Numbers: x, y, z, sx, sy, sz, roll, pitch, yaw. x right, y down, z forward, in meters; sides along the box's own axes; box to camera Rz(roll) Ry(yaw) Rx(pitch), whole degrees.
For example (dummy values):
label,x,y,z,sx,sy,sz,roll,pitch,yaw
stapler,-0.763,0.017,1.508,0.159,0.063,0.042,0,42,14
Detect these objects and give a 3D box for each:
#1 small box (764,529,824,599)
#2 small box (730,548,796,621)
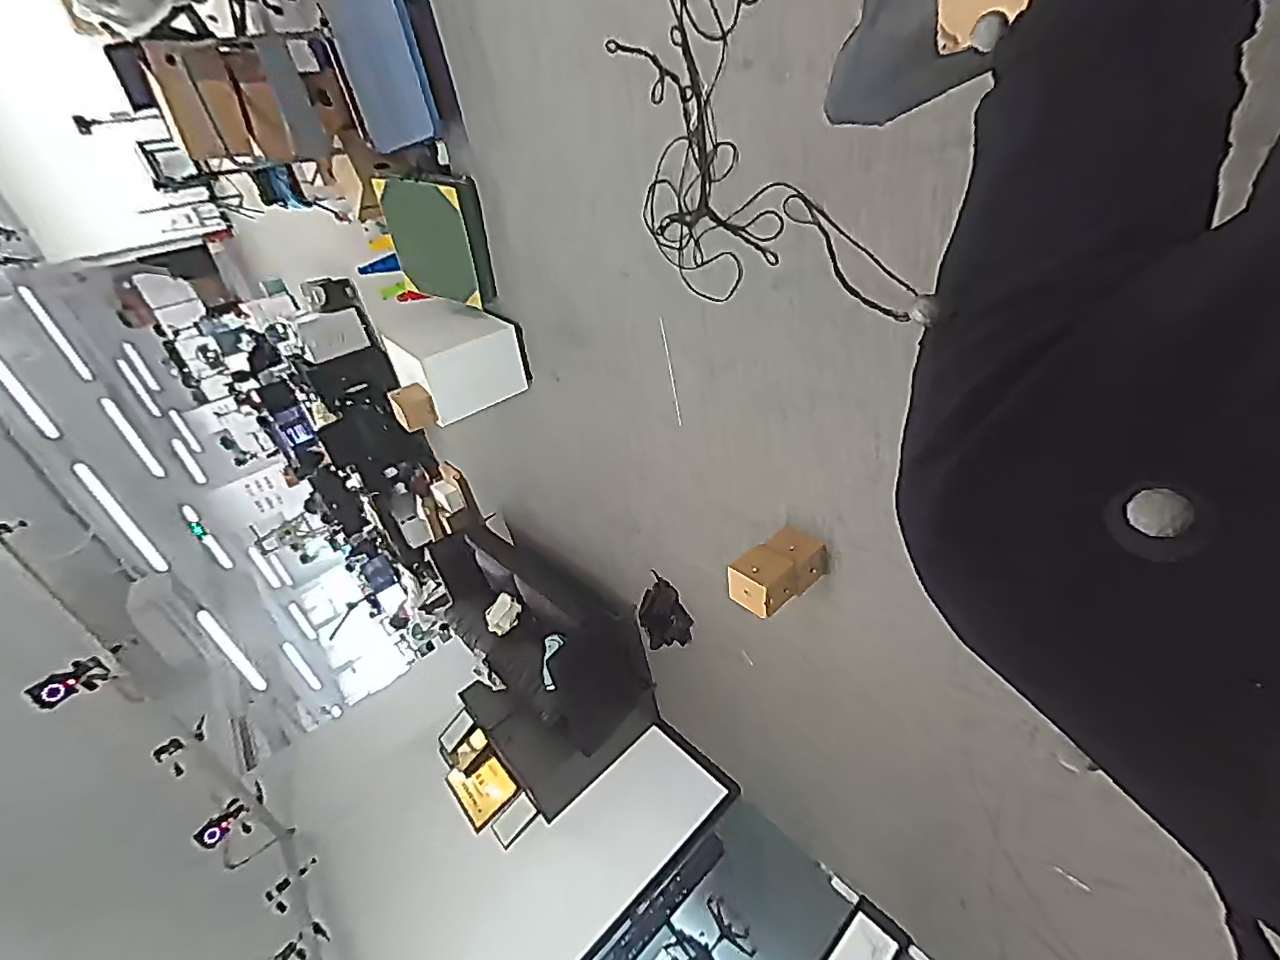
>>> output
label,x,y,z,sx,sy,sz,roll,pitch,yaw
small box,0.583,0.315,2.063,0.179,0.176,0.168,26,137,43
small box,0.451,0.374,1.986,0.179,0.176,0.168,27,137,43
